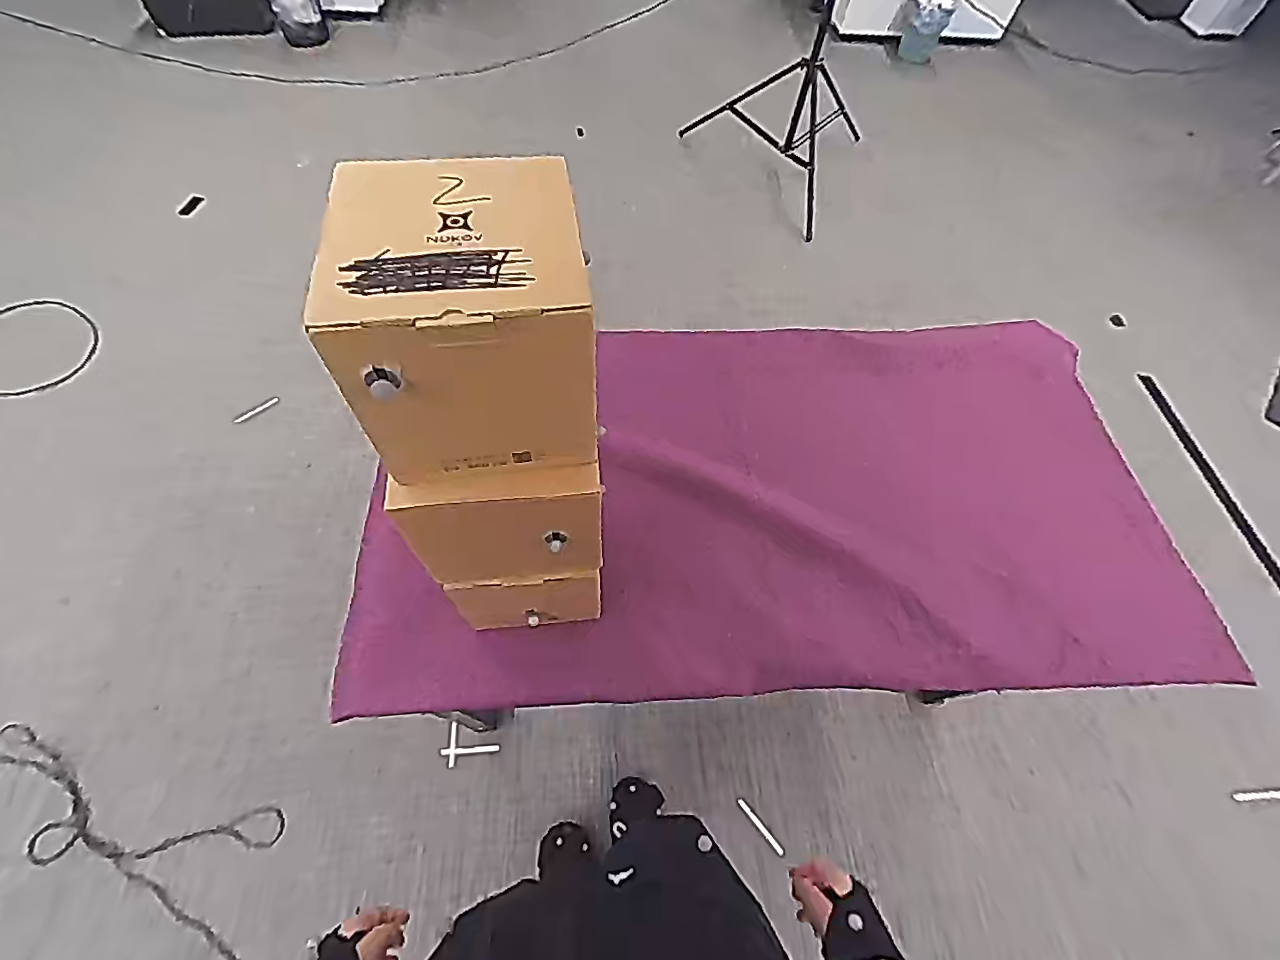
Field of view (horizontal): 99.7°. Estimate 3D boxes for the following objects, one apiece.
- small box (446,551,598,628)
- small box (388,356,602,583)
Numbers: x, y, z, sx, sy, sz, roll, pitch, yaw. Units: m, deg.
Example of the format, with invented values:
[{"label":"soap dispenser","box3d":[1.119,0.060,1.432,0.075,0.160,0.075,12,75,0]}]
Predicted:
[{"label":"small box","box3d":[-0.141,0.077,0.695,0.168,0.176,0.179,-4,60,-6]},{"label":"small box","box3d":[-0.133,-0.006,0.556,0.179,0.176,0.168,-5,58,-6]}]
